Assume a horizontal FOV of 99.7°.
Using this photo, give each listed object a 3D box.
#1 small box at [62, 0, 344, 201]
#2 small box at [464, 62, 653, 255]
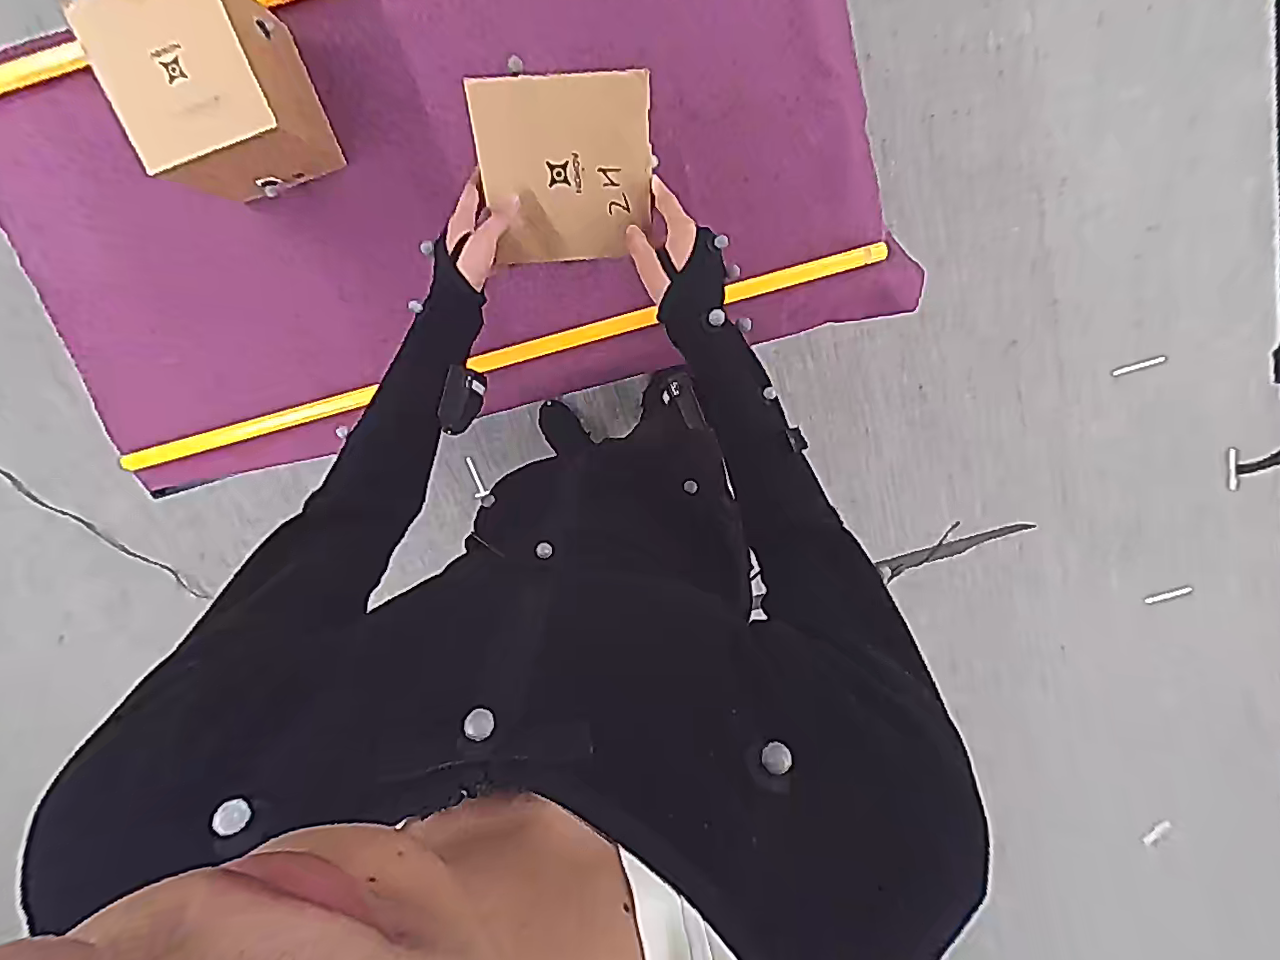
[{"bbox_3d":[-0.510,-0.474,0.664,0.168,0.176,0.179,-18,106,4],"label":"small box"},{"bbox_3d":[-0.079,-0.359,0.611,0.179,0.176,0.168,-4,124,-2],"label":"small box"}]
